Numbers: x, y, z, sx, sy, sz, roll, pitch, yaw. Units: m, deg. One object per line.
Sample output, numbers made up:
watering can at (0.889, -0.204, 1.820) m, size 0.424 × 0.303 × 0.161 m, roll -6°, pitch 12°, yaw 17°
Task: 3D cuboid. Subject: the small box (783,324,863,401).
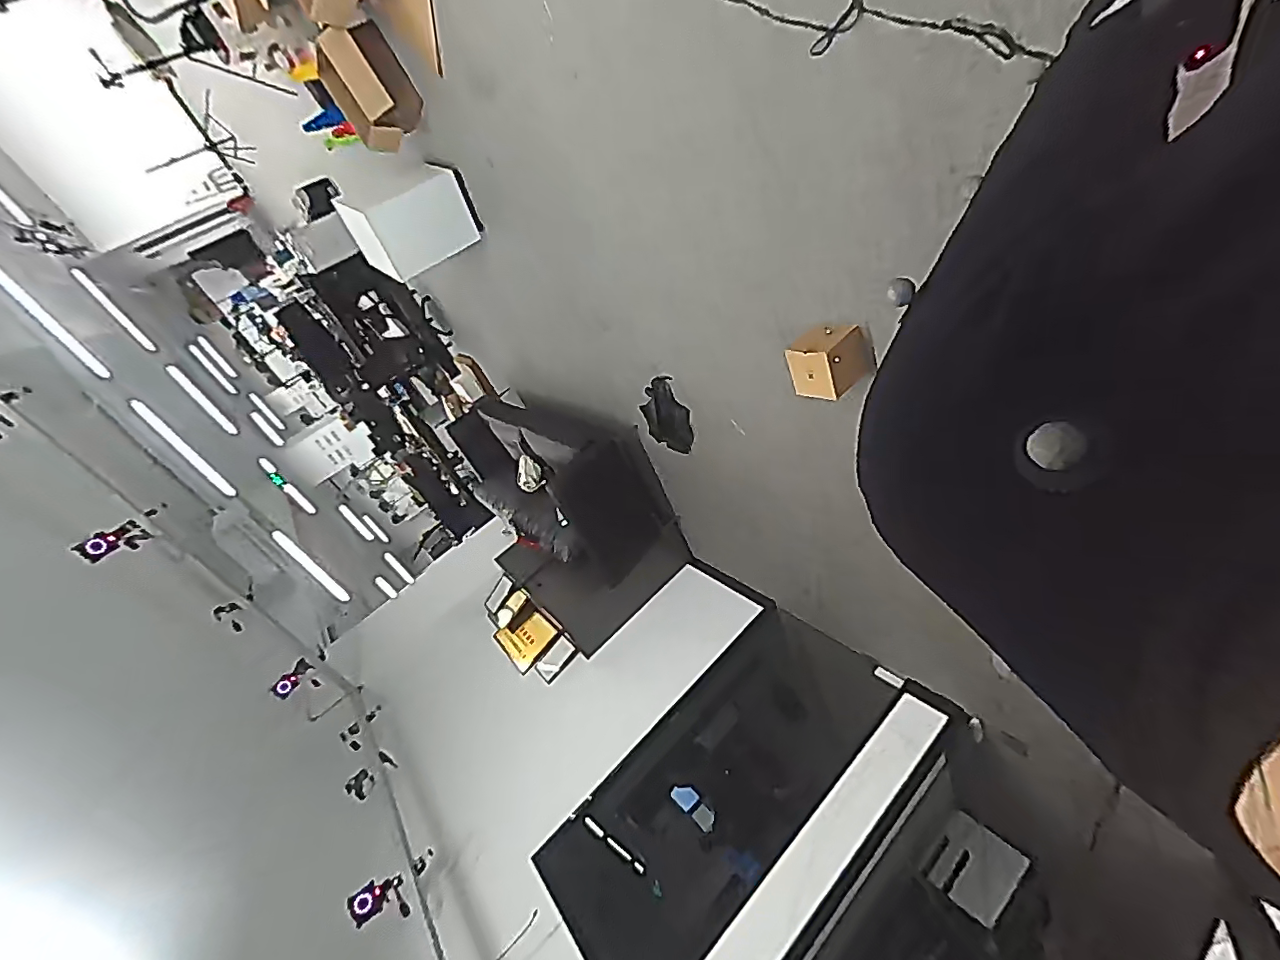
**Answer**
small box at (0.600, -0.384, 1.759) m, size 0.168 × 0.176 × 0.179 m, roll 24°, pitch 147°, yaw 52°
